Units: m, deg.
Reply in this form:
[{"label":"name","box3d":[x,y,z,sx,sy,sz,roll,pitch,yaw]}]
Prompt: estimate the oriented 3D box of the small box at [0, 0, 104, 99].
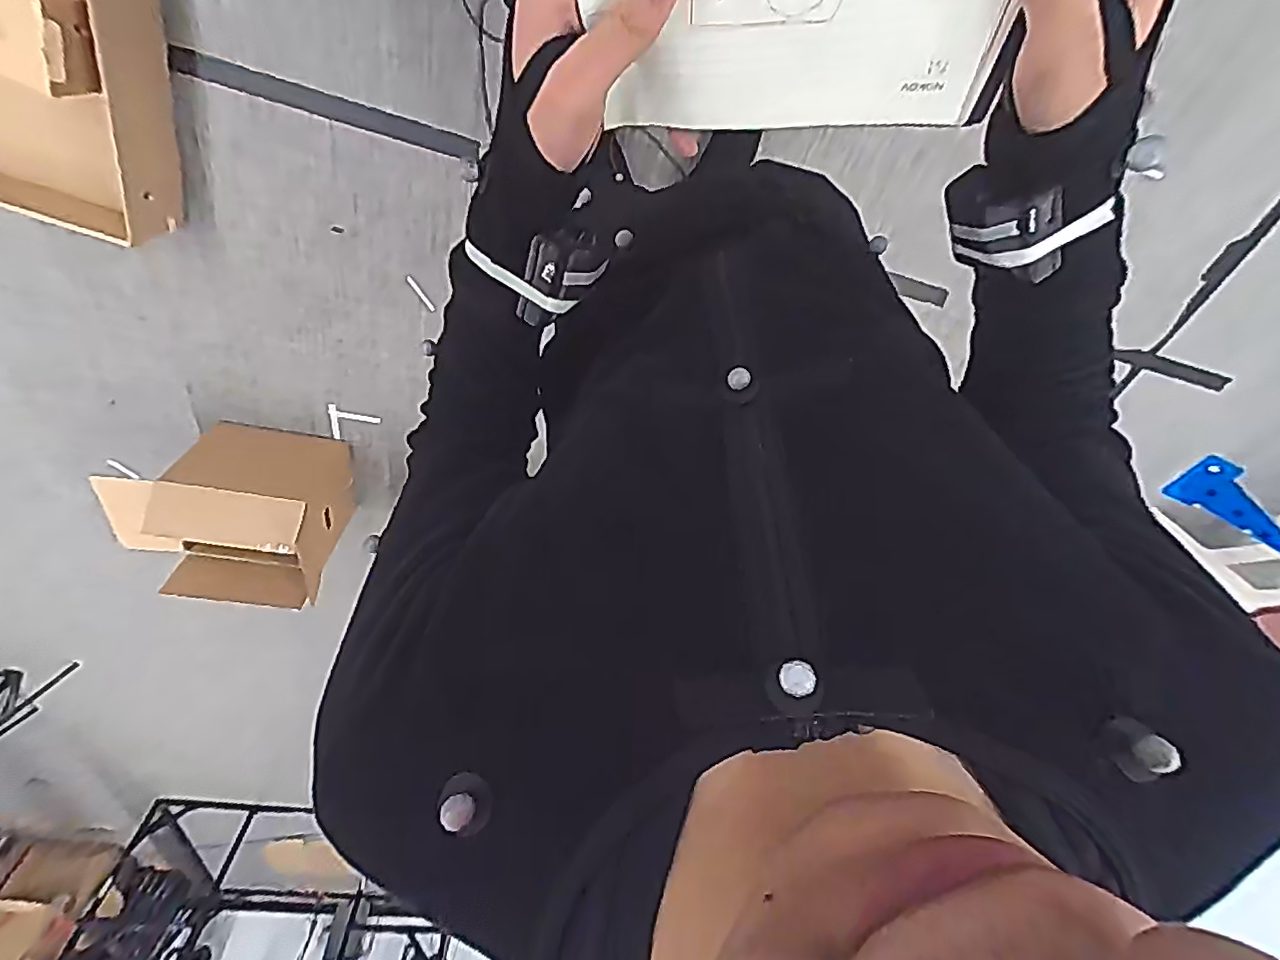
[{"label":"small box","box3d":[-1.161,-0.861,1.015,0.179,0.176,0.168,23,125,-19]}]
